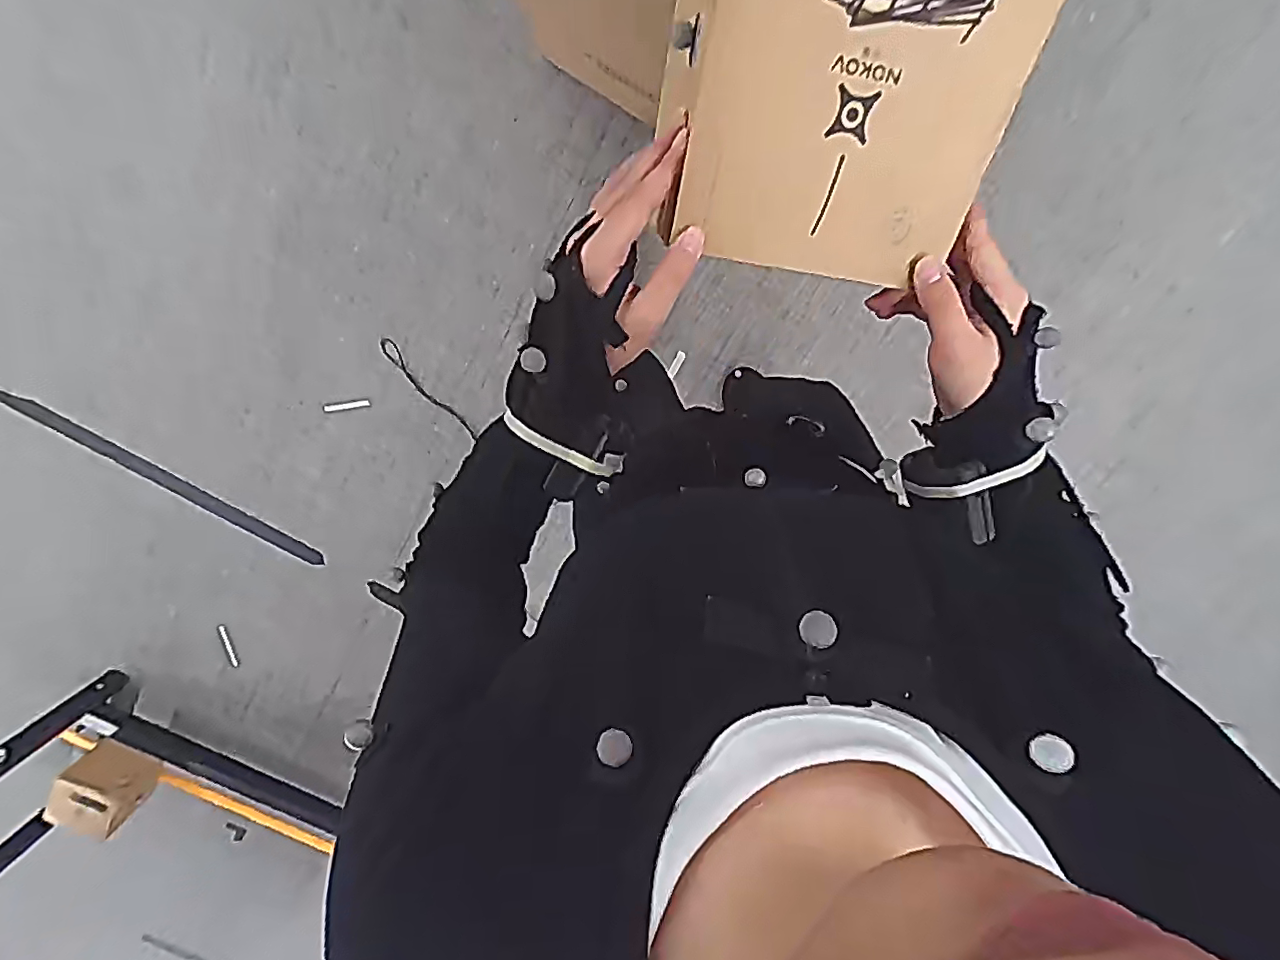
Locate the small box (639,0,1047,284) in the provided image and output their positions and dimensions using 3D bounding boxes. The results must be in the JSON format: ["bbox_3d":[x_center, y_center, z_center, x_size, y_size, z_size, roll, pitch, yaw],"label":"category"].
[{"bbox_3d":[0.097,-0.244,0.336,0.168,0.176,0.179,7,122,-10],"label":"small box"}]

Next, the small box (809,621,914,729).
[{"bbox_3d":[0.578,0.511,1.442,0.168,0.176,0.179,30,106,-7],"label":"small box"}]
